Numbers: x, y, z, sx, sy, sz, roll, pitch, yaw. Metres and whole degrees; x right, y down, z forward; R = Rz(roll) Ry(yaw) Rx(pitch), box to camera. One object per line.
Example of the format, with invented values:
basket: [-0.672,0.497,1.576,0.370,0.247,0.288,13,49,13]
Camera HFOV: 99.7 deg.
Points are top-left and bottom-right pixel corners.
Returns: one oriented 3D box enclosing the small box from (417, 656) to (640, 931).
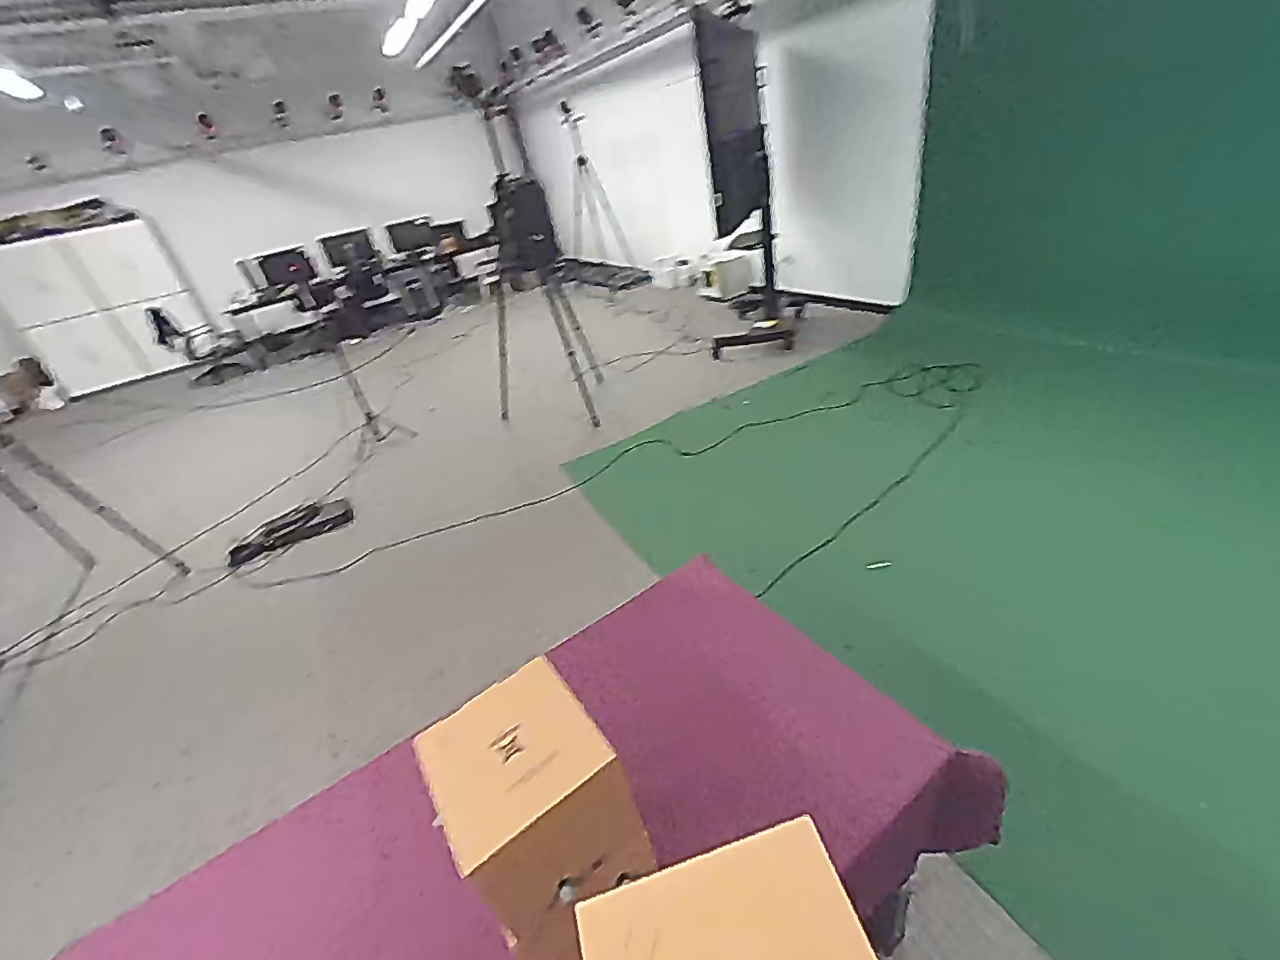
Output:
small box: [-0.123,0.347,0.614,0.168,0.176,0.179,-29,36,-23]

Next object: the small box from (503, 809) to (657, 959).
small box: [-0.090,0.483,0.699,0.179,0.176,0.168,-28,35,-23]

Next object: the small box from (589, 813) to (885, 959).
small box: [0.075,0.360,0.348,0.168,0.176,0.179,-16,41,-6]
